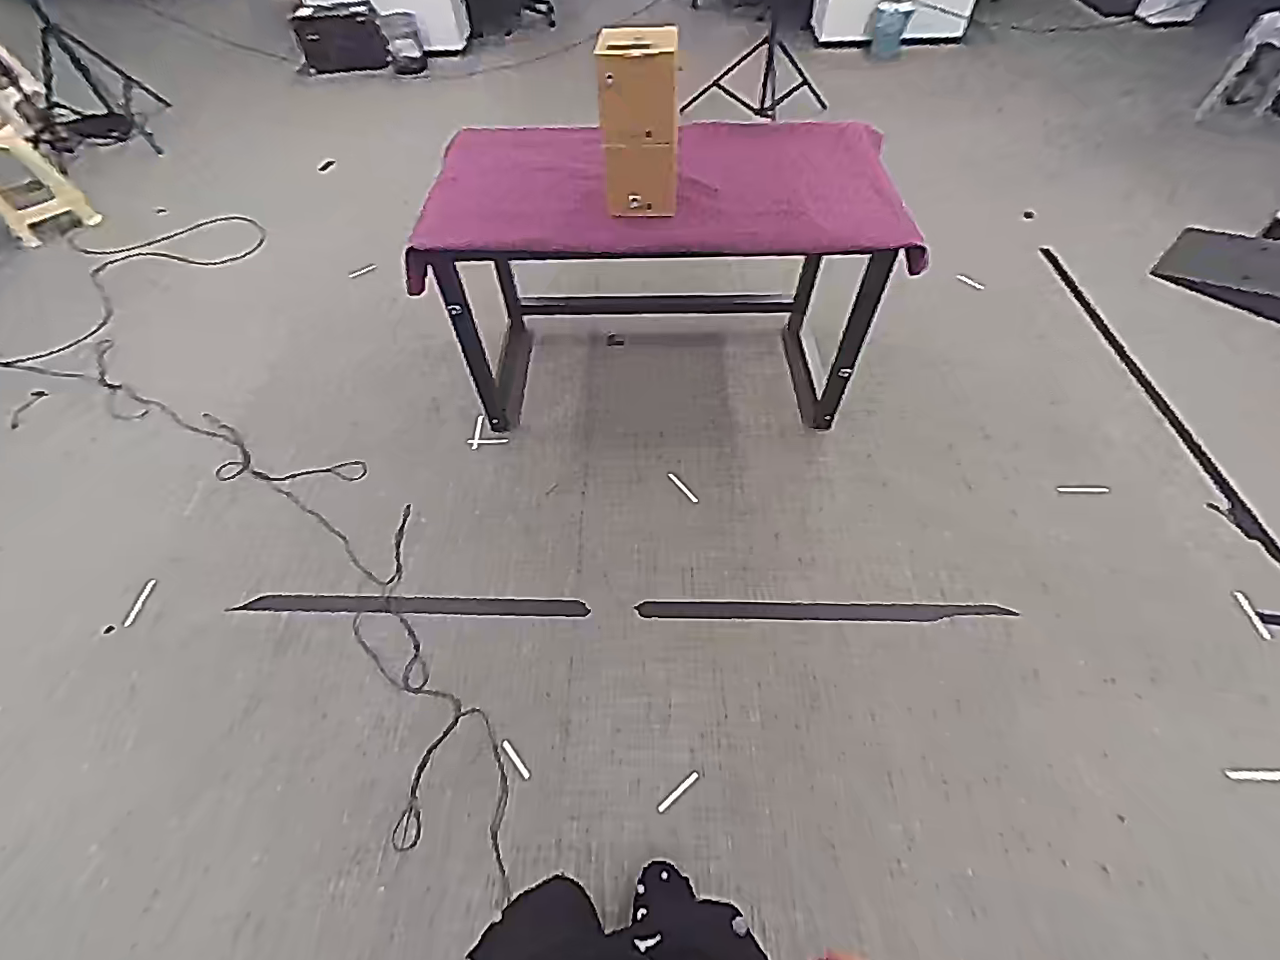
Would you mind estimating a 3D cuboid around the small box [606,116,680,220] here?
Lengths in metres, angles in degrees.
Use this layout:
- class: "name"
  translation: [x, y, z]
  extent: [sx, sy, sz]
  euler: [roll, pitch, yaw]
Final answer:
- class: "small box"
  translation: [0.011, -0.766, 1.329]
  extent: [0.168, 0.176, 0.179]
  euler: [1, 55, 4]
